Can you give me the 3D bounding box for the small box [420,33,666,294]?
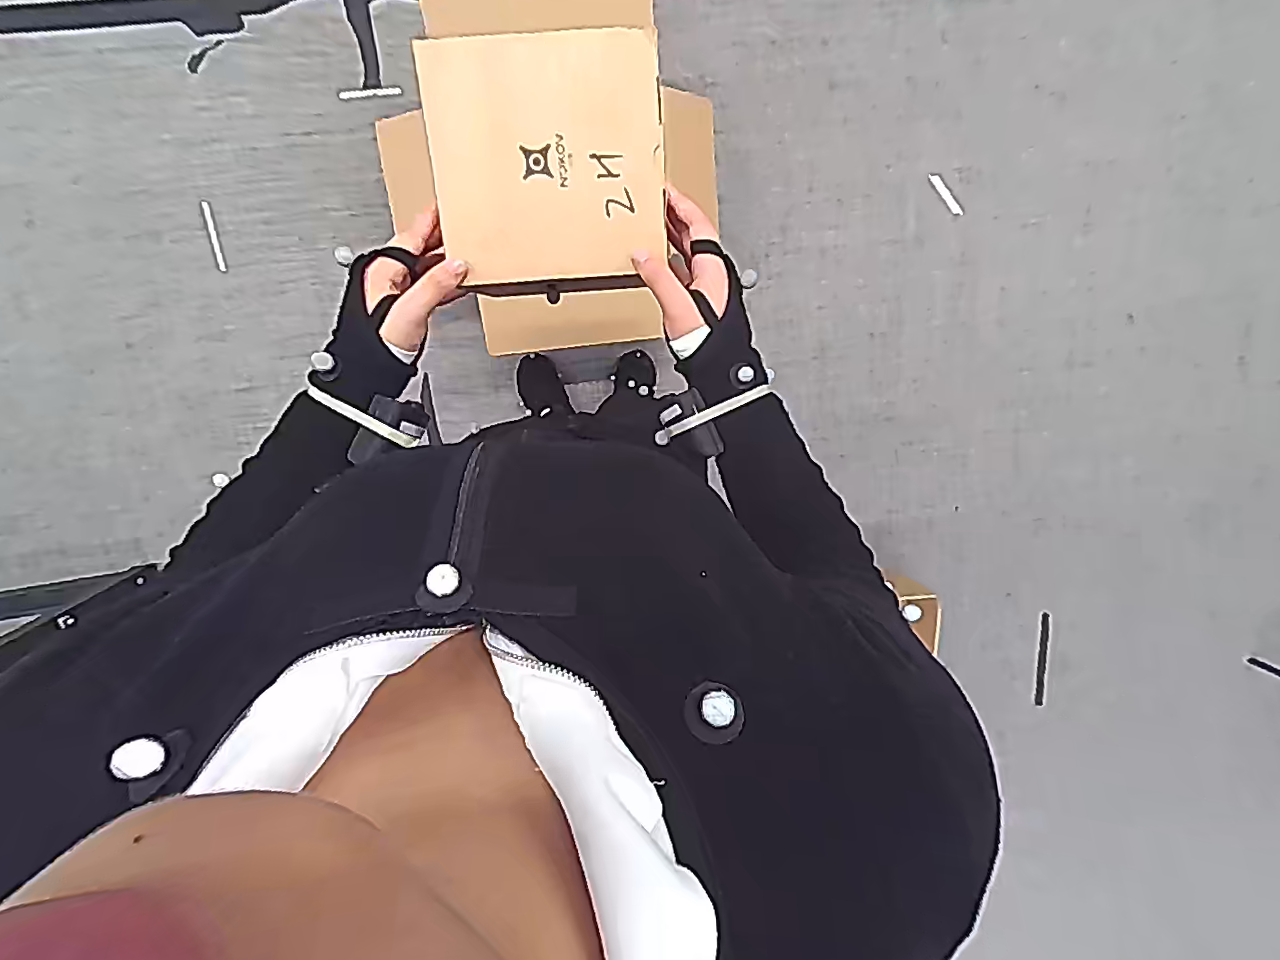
[{"bbox_3d":[-0.072,-0.263,0.488,0.179,0.176,0.168,-4,107,-2],"label":"small box"}]
